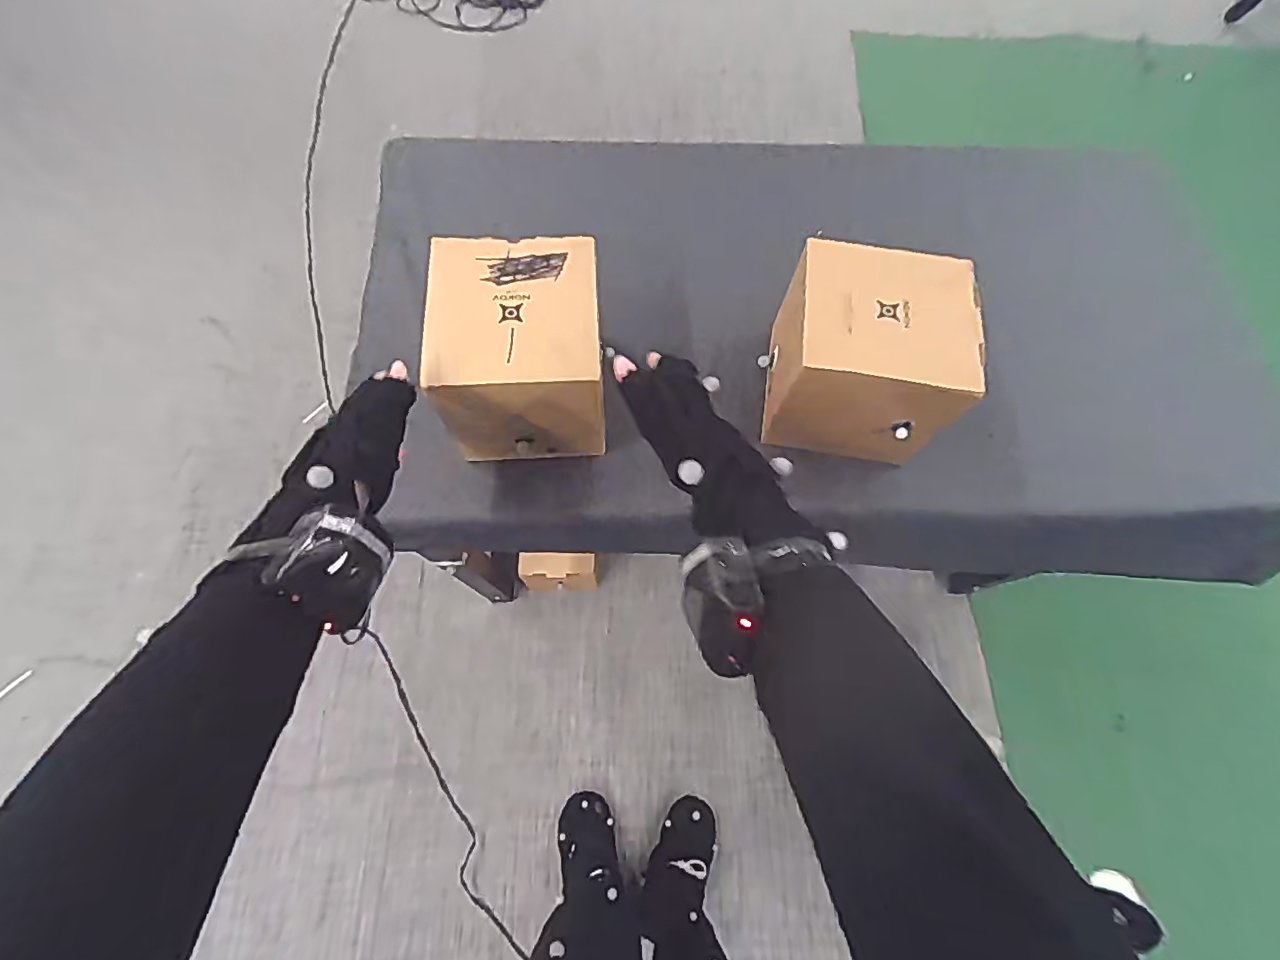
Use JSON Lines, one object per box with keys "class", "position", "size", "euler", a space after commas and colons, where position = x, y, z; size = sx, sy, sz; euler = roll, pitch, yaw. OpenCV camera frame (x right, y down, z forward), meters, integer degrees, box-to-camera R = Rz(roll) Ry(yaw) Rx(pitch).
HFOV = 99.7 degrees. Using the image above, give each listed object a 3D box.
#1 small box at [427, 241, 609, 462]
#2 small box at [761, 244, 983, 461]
{"class": "small box", "position": [-0.120, -0.135, 0.597], "size": [0.168, 0.176, 0.179], "euler": [-3, 68, -4]}
{"class": "small box", "position": [0.248, -0.134, 0.617], "size": [0.179, 0.176, 0.168], "euler": [8, 67, 1]}
